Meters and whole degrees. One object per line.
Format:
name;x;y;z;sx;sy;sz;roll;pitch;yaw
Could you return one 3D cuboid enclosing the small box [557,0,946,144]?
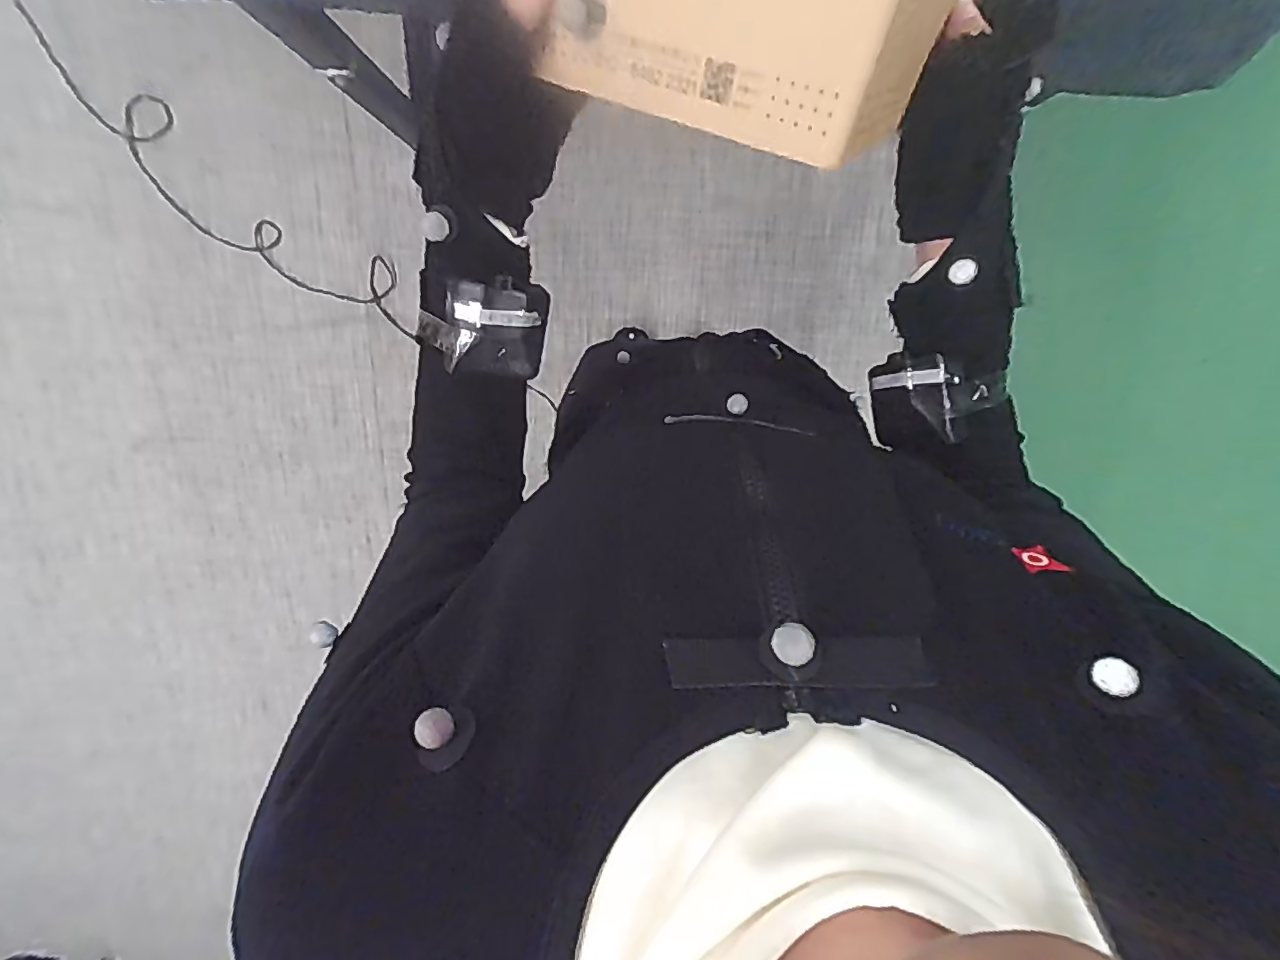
small box;0.070;-0.284;0.262;0.168;0.179;0.176;29;137;15
